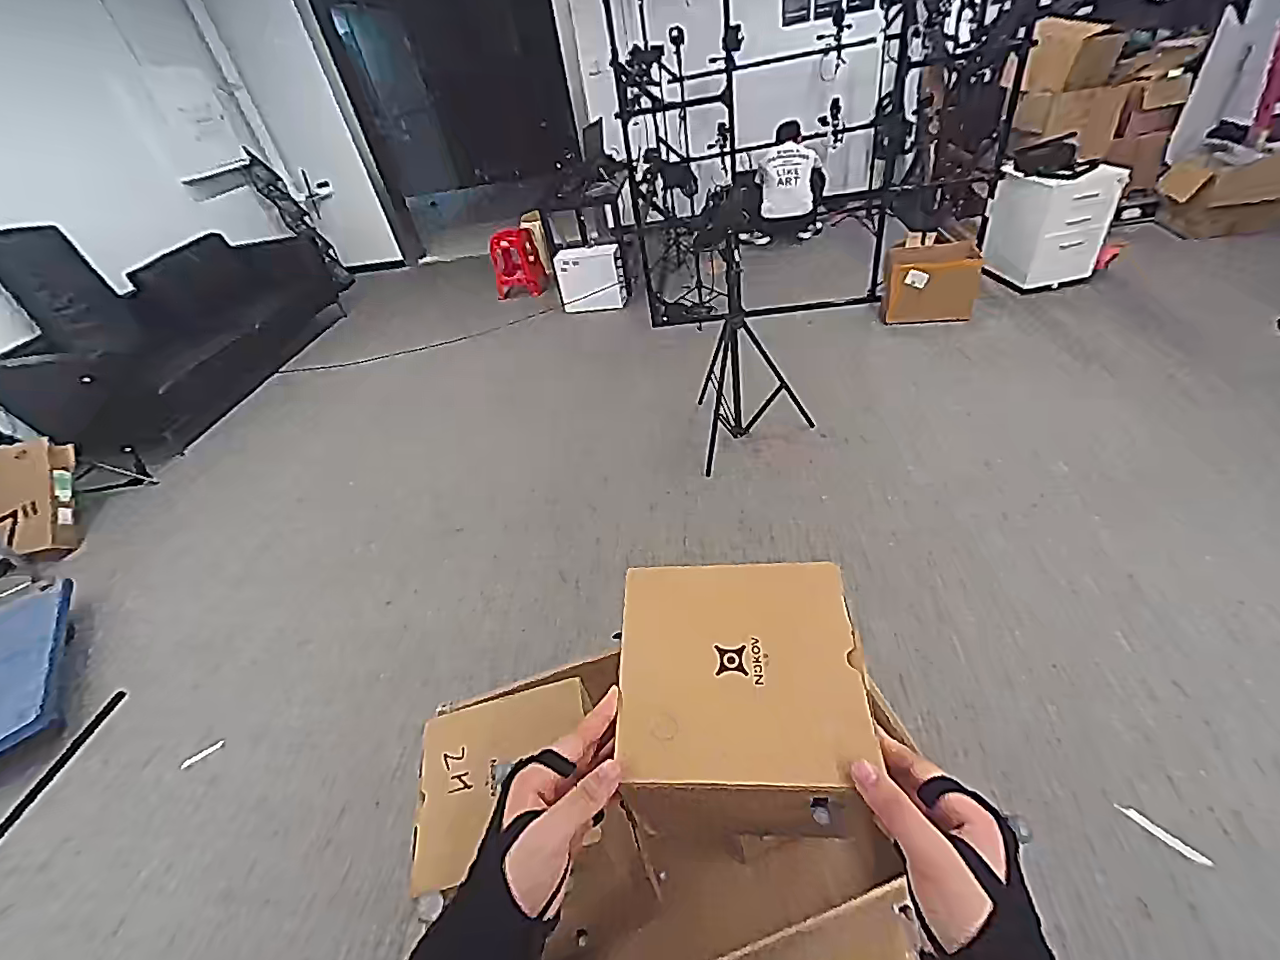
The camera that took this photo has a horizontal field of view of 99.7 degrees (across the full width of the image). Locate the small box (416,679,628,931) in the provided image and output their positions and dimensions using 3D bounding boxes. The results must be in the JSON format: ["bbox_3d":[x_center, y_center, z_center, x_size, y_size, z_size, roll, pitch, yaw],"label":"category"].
[{"bbox_3d":[-0.116,0.350,0.585,0.179,0.176,0.168,-15,40,-4],"label":"small box"}]

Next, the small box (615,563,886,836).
[{"bbox_3d":[0.084,0.188,0.456,0.179,0.176,0.168,-4,47,7],"label":"small box"}]
